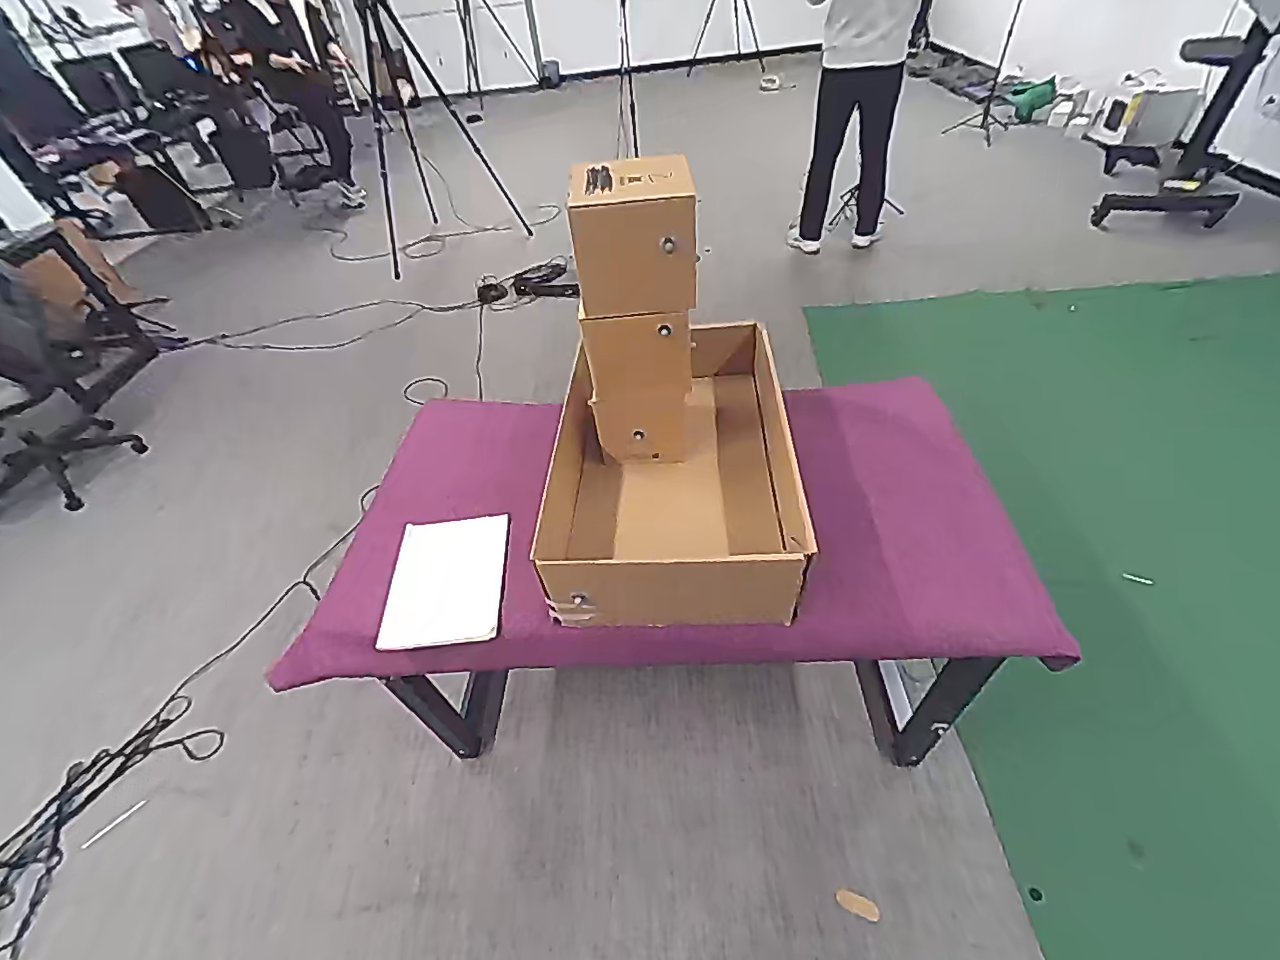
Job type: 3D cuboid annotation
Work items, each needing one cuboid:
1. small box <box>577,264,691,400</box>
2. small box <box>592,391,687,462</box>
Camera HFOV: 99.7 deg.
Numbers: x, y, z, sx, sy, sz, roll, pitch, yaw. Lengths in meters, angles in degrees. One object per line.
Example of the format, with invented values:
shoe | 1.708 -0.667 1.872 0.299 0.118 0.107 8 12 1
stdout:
small box | -0.004 -0.256 0.950 0.179 0.176 0.168 -4 47 4
small box | 0.007 -0.148 1.070 0.168 0.176 0.179 -2 47 6
